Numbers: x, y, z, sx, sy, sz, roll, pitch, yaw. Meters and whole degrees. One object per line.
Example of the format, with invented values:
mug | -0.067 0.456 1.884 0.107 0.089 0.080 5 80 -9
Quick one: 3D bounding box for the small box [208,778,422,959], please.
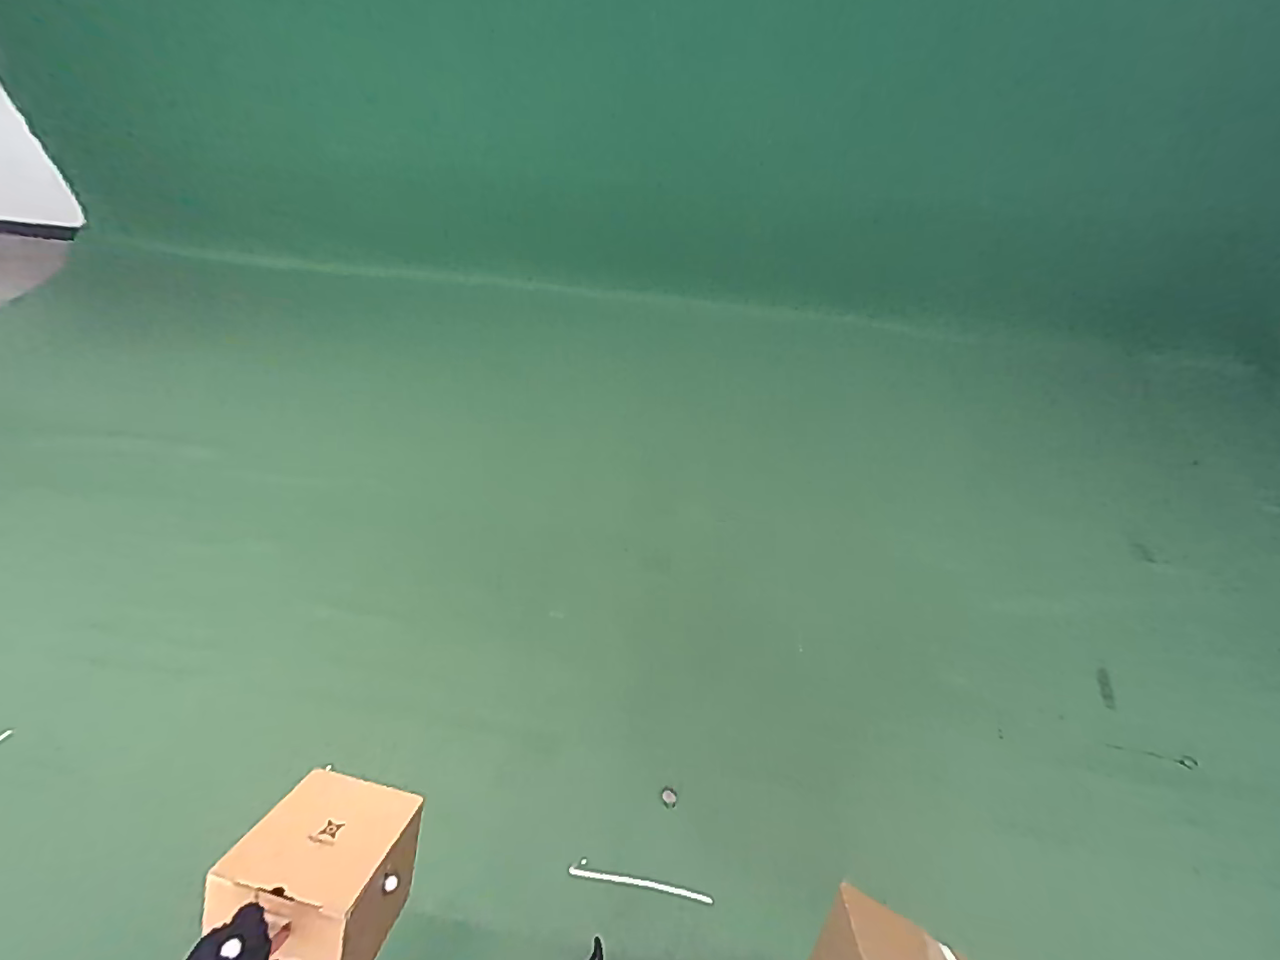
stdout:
small box | -0.407 0.528 0.687 0.168 0.176 0.179 12 9 4
